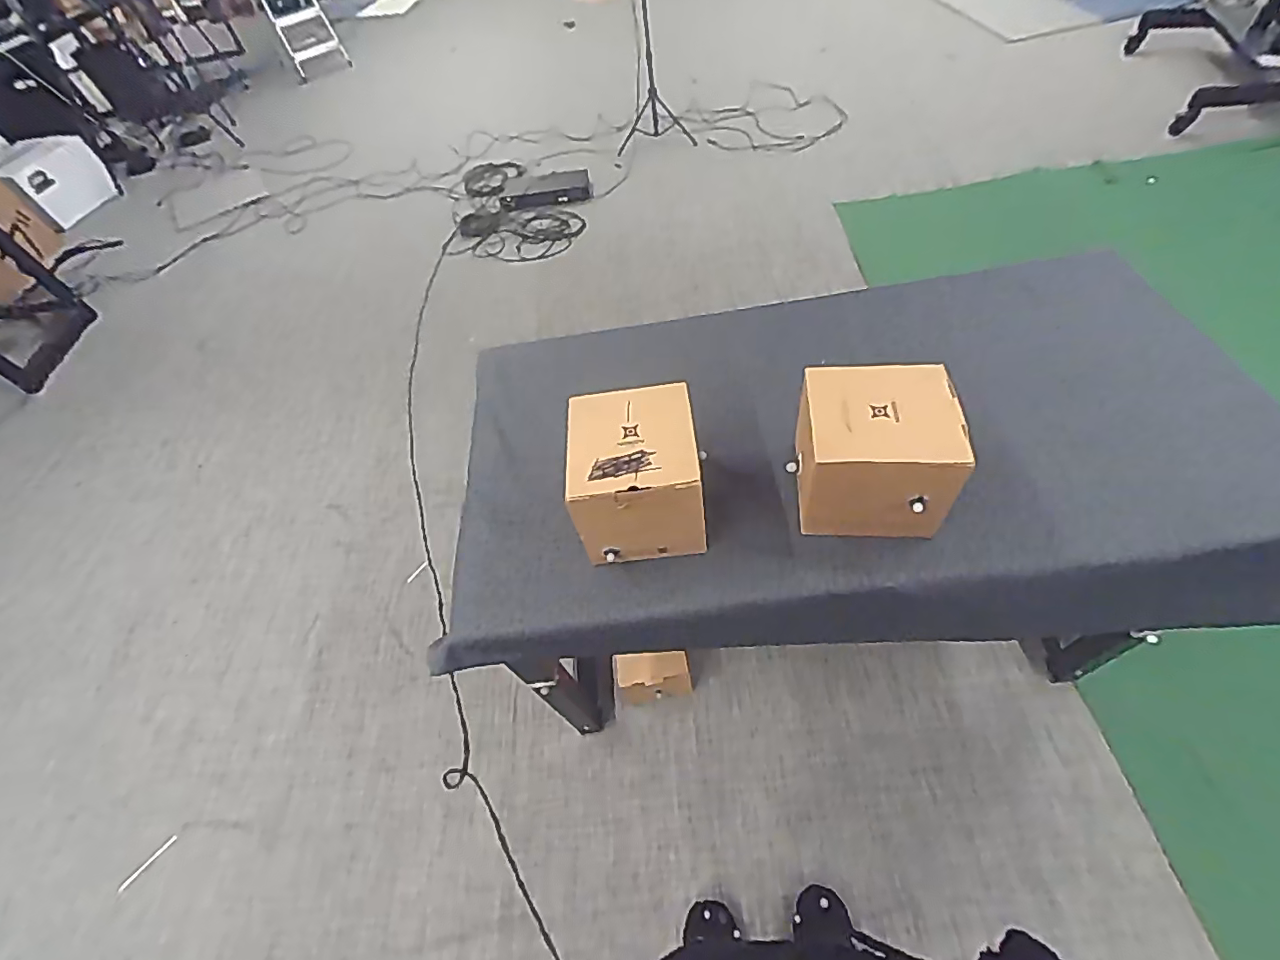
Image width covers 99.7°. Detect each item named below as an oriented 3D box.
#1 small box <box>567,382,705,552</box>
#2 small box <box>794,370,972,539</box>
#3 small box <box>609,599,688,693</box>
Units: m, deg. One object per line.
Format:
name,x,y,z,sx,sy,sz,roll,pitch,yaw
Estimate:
small box,0.000,-0.010,0.760,0.168,0.176,0.179,-6,52,4
small box,0.311,-0.031,0.734,0.179,0.176,0.168,1,54,10
small box,0.023,0.423,1.354,0.168,0.176,0.179,-11,55,0
